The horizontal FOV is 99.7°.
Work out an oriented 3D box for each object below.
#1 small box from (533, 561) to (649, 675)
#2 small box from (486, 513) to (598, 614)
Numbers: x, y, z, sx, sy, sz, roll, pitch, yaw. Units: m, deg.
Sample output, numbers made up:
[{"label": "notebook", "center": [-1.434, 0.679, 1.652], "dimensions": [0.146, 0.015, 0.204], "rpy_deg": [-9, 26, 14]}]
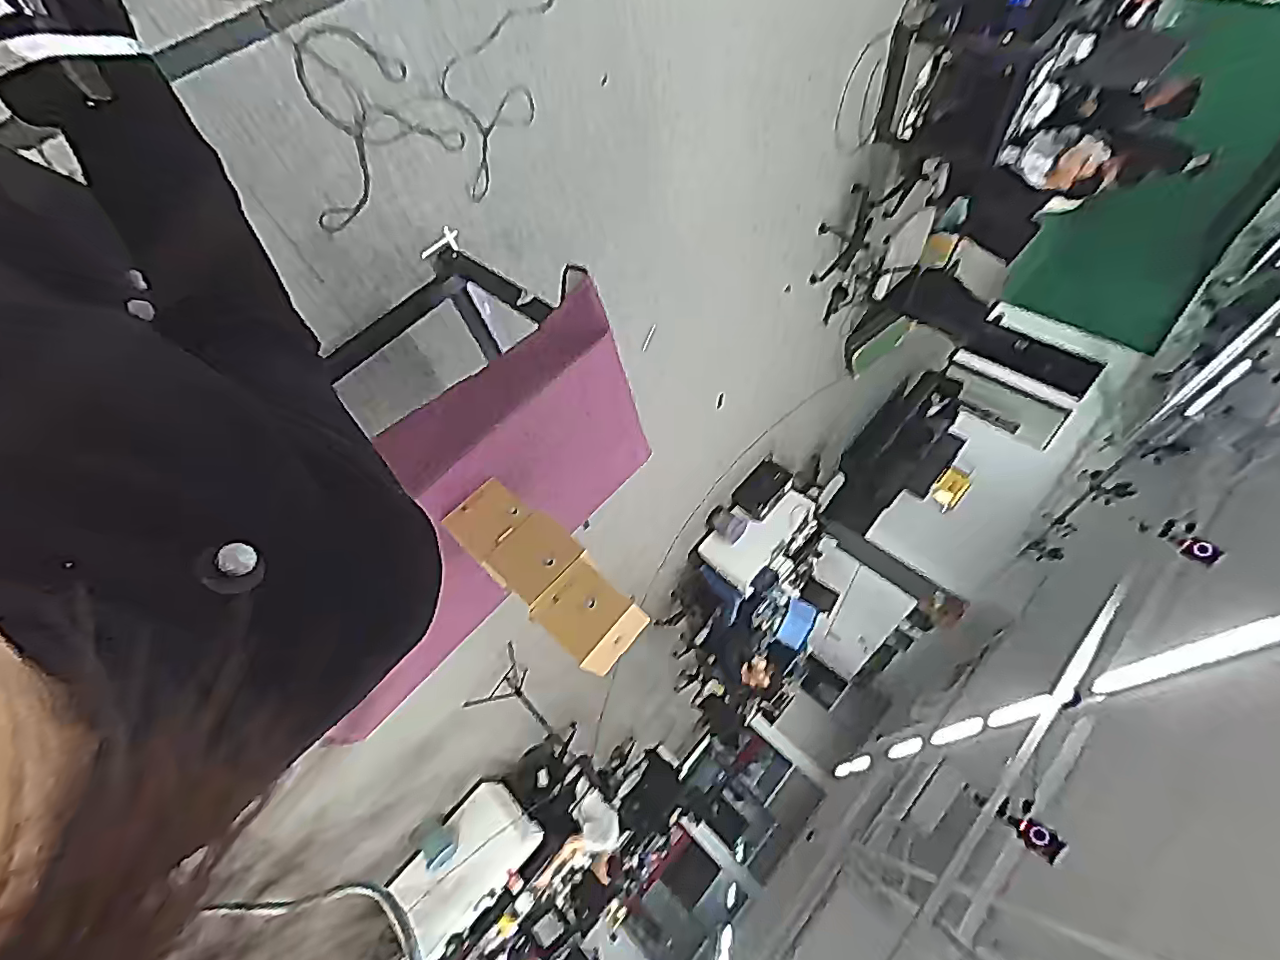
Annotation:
[{"label": "small box", "center": [-0.109, 0.305, 1.205], "dimensions": [0.168, 0.176, 0.179], "rpy_deg": [-48, 154, -11]}, {"label": "small box", "center": [-0.225, 0.208, 1.265], "dimensions": [0.179, 0.176, 0.168], "rpy_deg": [-44, 151, -18]}]
